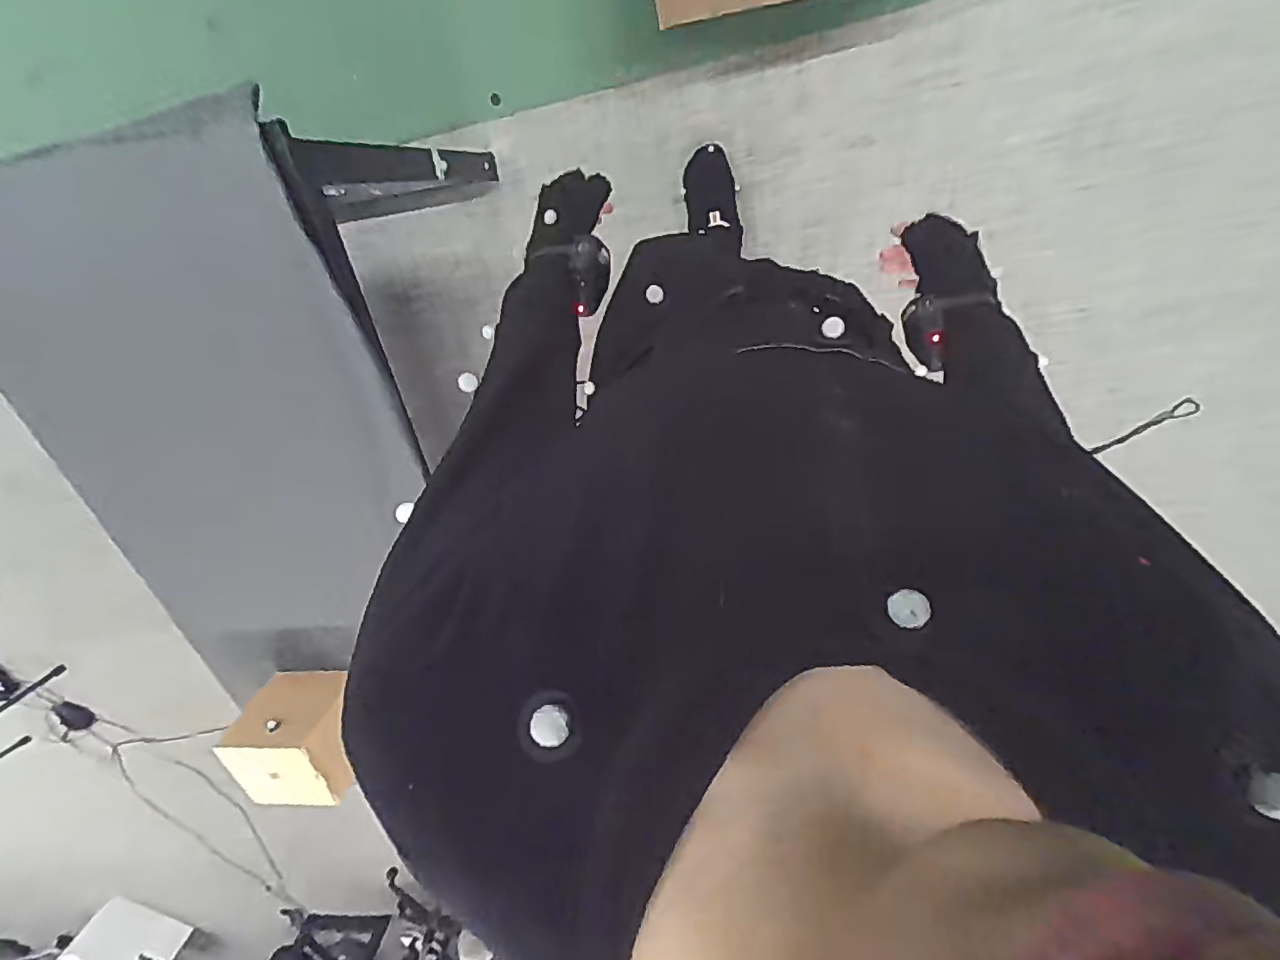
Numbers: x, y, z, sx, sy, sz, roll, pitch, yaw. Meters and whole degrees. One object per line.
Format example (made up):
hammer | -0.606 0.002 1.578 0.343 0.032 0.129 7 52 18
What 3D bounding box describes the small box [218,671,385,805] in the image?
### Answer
small box | -0.626 0.480 1.023 0.179 0.176 0.168 -4 119 9
